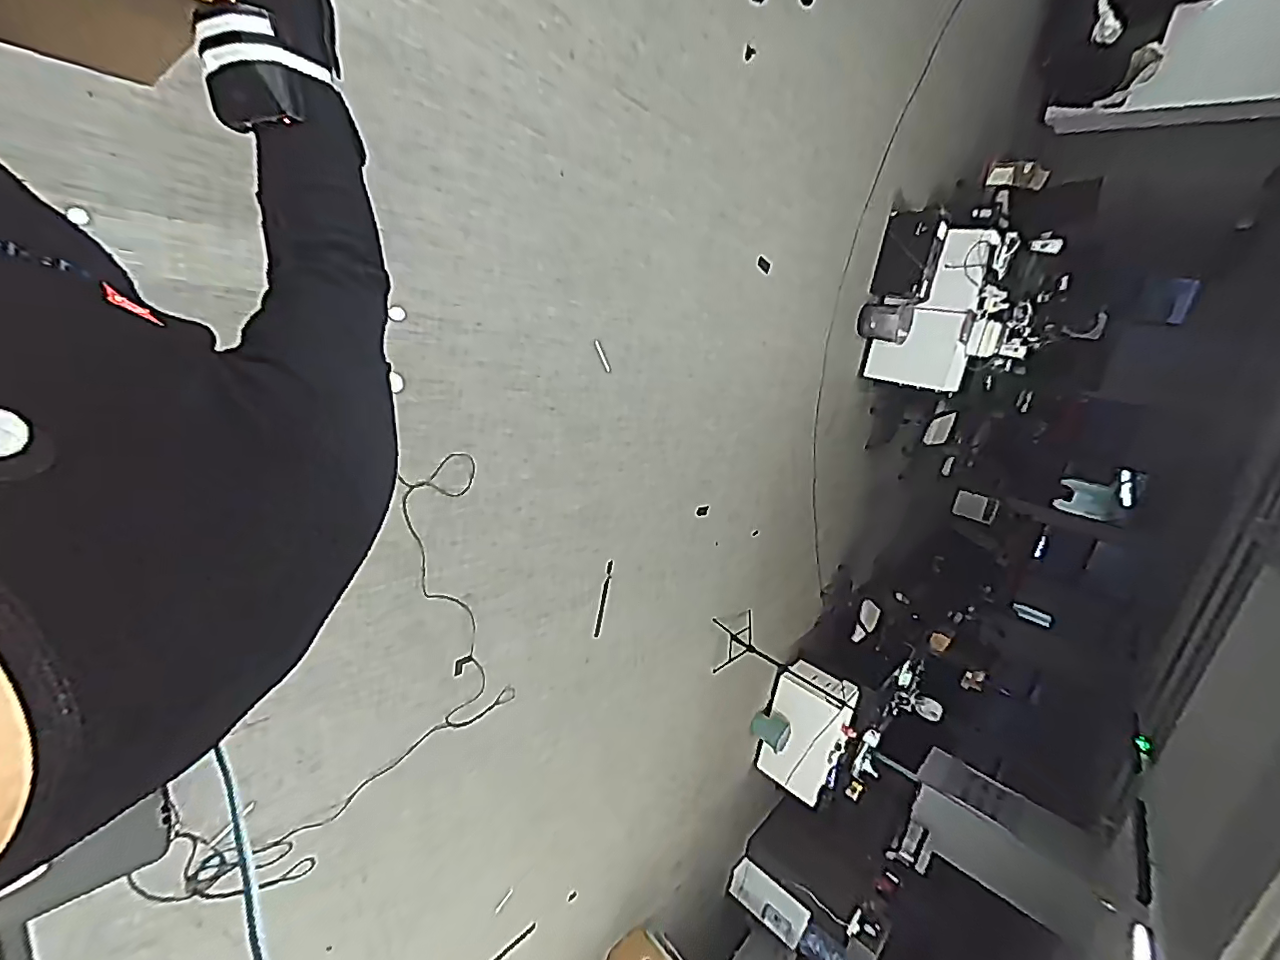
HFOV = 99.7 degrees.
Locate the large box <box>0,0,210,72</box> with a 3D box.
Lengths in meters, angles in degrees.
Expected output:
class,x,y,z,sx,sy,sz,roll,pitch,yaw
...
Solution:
class,x,y,z,sx,sy,sz,roll,pitch,yaw
large box,-0.500,-0.480,0.264,0.408,0.320,0.320,-12,115,-48
